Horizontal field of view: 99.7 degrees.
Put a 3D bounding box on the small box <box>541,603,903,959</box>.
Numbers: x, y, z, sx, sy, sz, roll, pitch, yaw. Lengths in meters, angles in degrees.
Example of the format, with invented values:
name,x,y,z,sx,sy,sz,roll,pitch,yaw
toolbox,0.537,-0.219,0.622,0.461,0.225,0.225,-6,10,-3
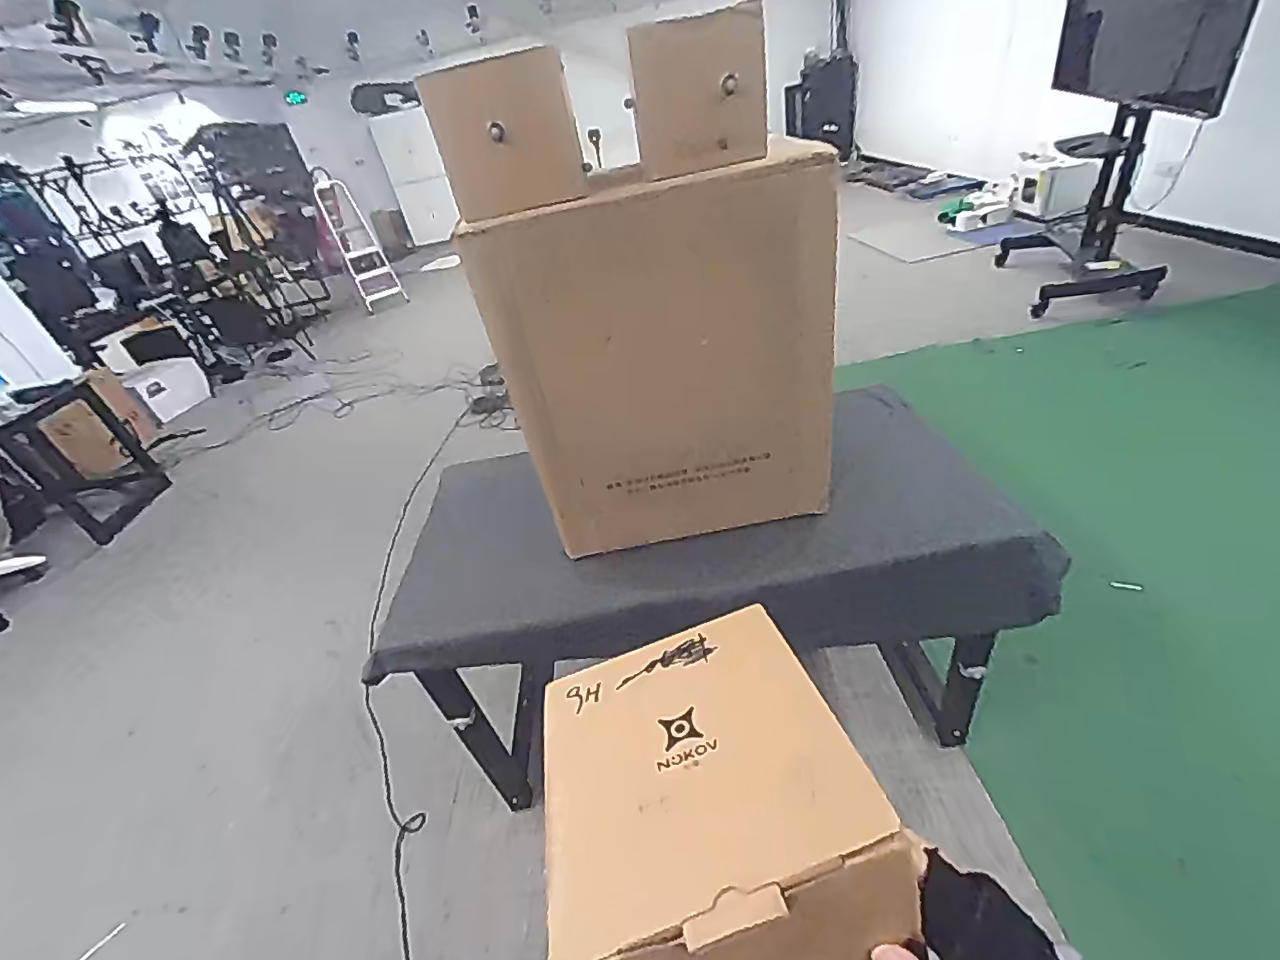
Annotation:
name,x,y,z,sx,sy,sz,roll,pitch,yaw
small box,0.045,0.219,0.350,0.168,0.176,0.179,-20,25,-1

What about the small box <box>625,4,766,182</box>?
name,x,y,z,sx,sy,sz,roll,pitch,yaw
small box,0.076,-0.527,0.751,0.168,0.176,0.179,-9,36,2

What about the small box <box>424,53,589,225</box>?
name,x,y,z,sx,sy,sz,roll,pitch,yaw
small box,-0.170,-0.475,0.753,0.179,0.176,0.168,-12,38,0
